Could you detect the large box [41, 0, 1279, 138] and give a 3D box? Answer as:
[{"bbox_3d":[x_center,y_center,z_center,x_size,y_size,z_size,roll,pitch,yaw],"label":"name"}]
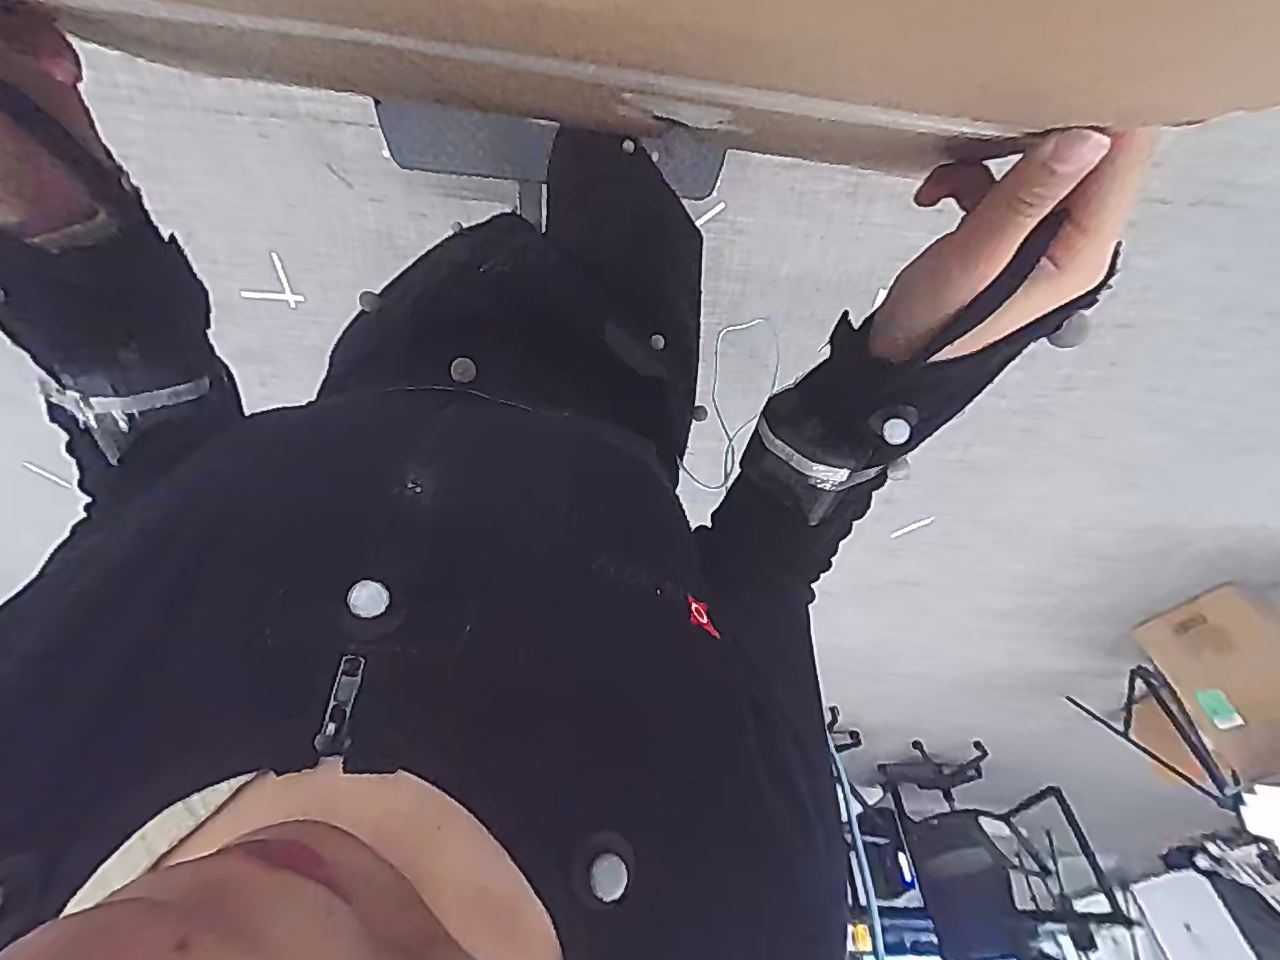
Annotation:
[{"bbox_3d":[-0.034,-0.282,0.092,0.408,0.320,0.320,6,116,-1],"label":"large box"}]
